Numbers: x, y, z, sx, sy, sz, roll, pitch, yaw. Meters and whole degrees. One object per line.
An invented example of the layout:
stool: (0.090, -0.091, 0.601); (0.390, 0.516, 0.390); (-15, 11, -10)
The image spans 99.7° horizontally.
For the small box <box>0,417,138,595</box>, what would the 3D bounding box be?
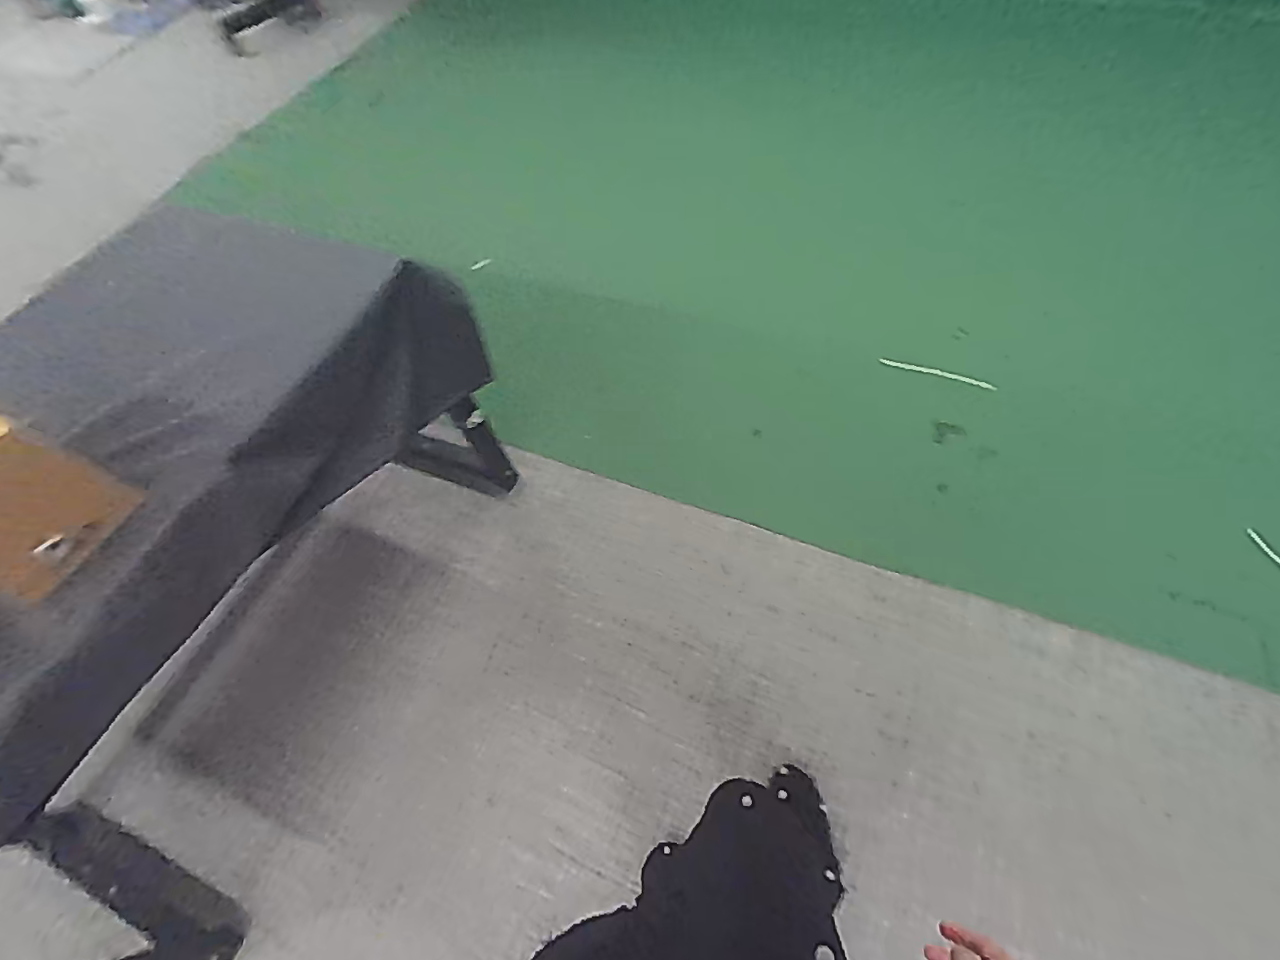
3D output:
small box: (-0.772, 0.016, 0.633); (0.179, 0.176, 0.168); (19, 65, 16)
